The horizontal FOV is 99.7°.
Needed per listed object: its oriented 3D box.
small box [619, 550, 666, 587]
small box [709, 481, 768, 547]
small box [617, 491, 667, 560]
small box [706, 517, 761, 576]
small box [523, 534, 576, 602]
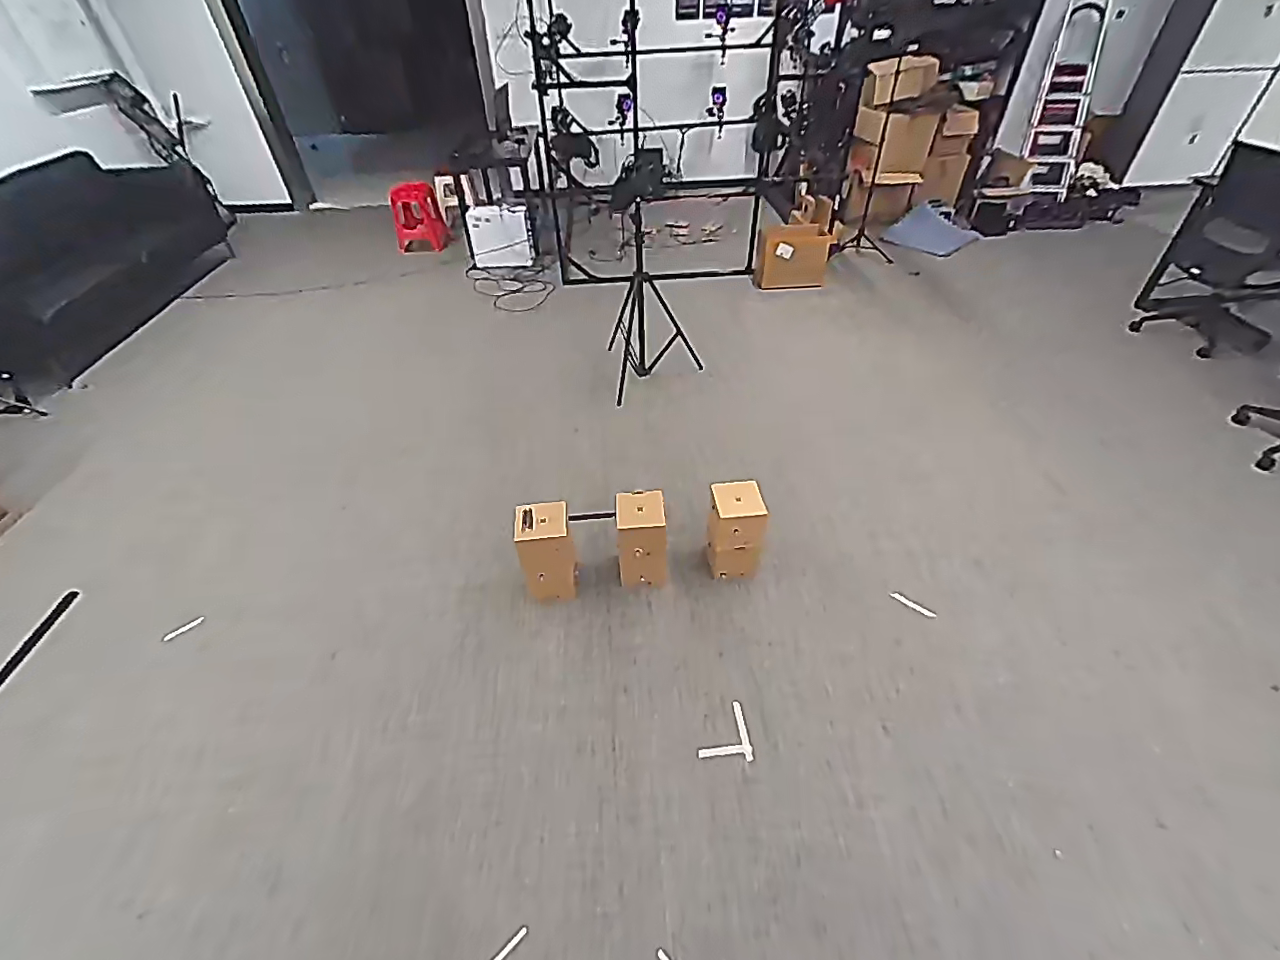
[{"bbox_3d":[0.006,0.276,2.010,0.168,0.176,0.179,-3,43,-1],"label":"small box"},{"bbox_3d":[0.344,0.127,1.922,0.168,0.176,0.179,-5,41,-4],"label":"small box"},{"bbox_3d":[0.004,0.159,1.896,0.168,0.176,0.179,-4,42,-1],"label":"small box"},{"bbox_3d":[0.345,0.248,2.031,0.168,0.176,0.179,-5,41,-4],"label":"small box"},{"bbox_3d":[-0.327,0.321,1.977,0.168,0.176,0.179,-5,42,-2],"label":"small box"}]
